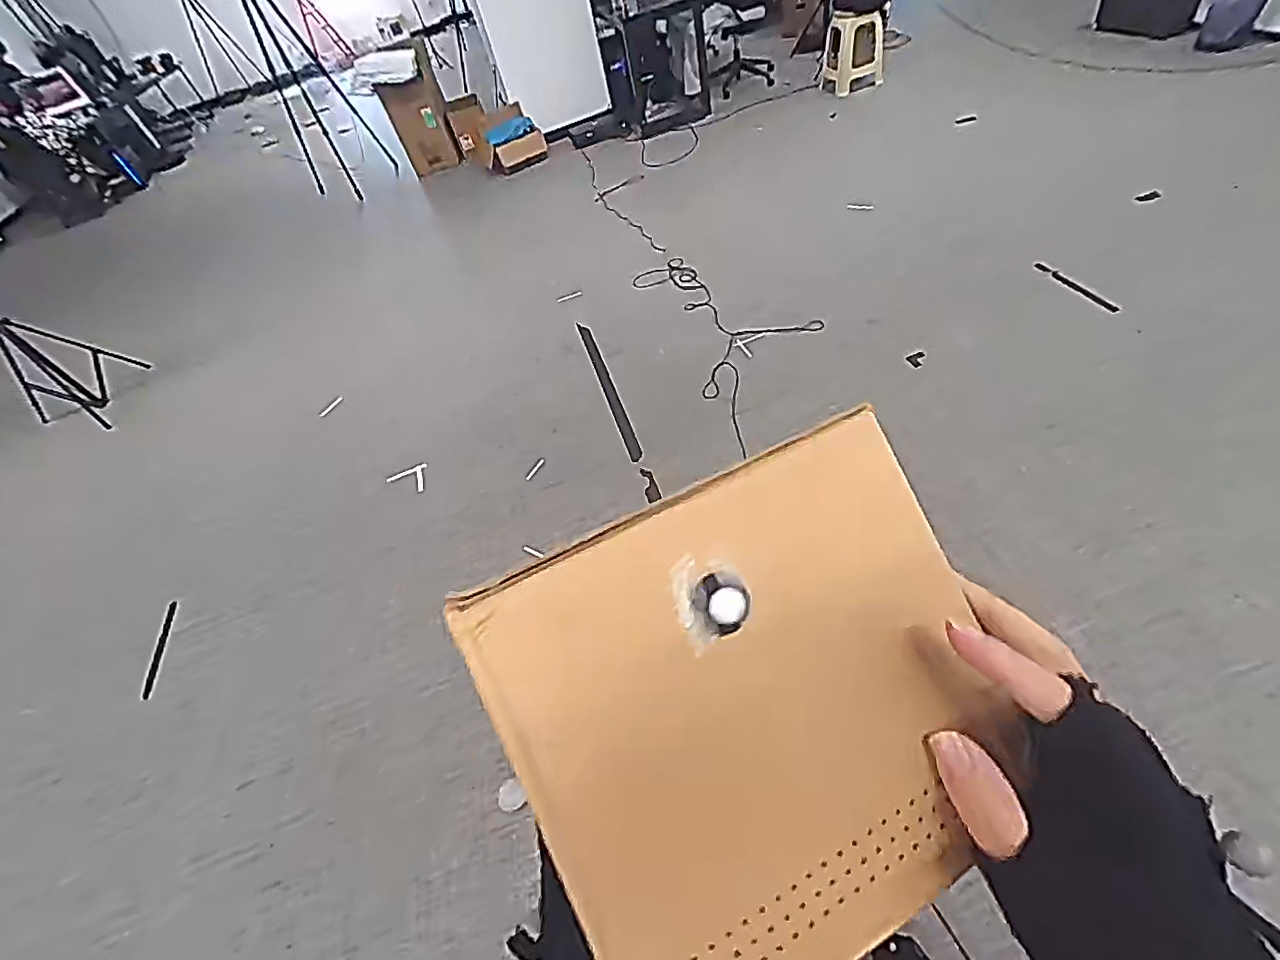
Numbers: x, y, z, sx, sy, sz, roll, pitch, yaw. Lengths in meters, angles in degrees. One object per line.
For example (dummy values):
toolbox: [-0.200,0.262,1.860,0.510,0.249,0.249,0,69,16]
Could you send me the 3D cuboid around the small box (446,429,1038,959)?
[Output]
small box: [0.036,0.101,0.264,0.179,0.168,0.176,-25,86,-12]
